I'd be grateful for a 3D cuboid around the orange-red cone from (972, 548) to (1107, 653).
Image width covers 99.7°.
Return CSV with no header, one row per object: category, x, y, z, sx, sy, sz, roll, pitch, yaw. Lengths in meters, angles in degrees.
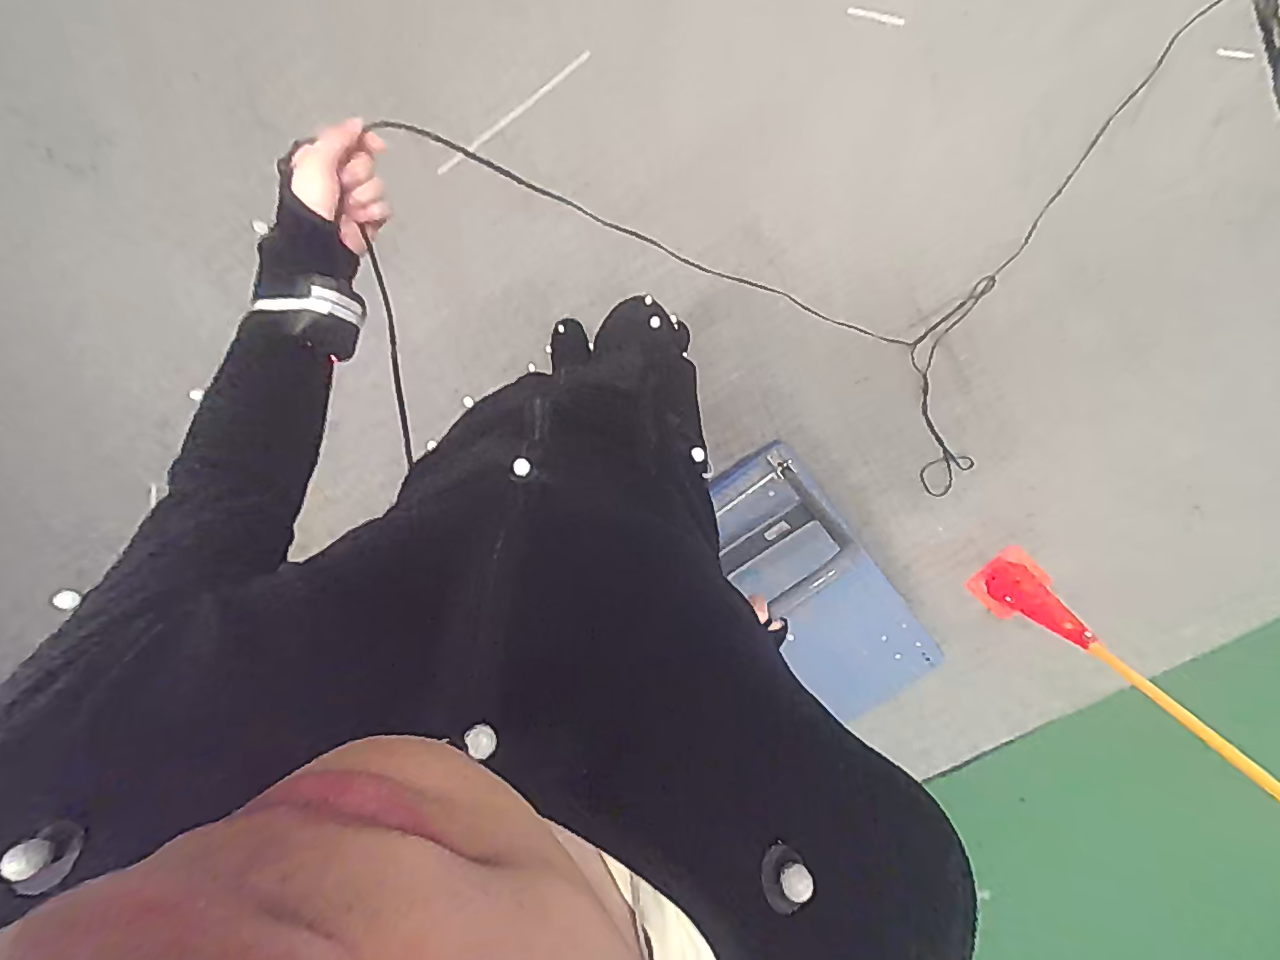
orange-red cone,1.189,0.380,1.565,0.198,0.360,0.199,42,102,-12
